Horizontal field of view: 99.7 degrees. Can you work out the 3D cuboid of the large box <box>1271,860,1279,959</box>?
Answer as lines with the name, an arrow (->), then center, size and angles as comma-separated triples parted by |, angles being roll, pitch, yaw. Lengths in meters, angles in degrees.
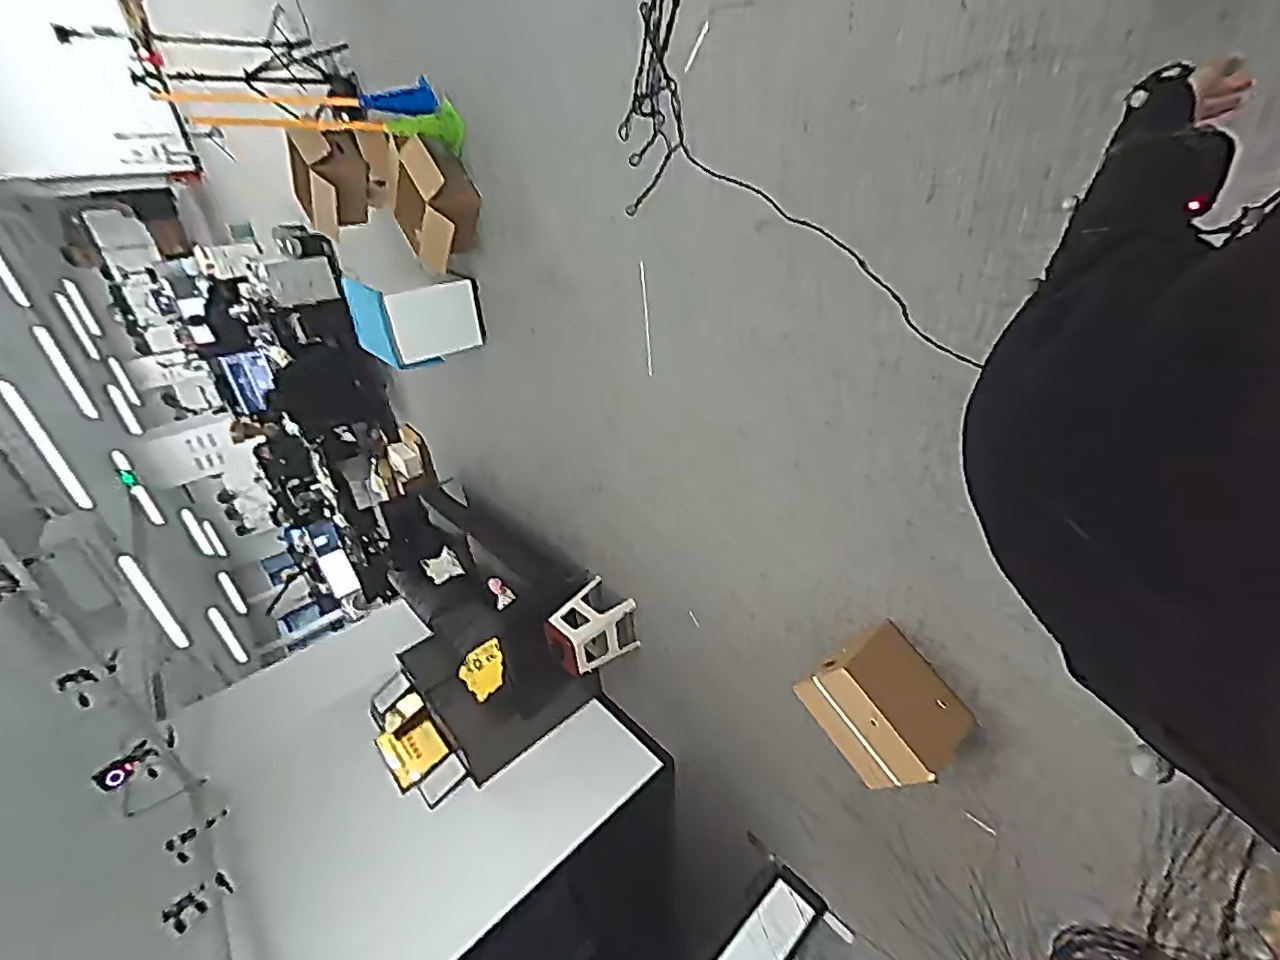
large box -> 1.559, 0.960, 1.059 | 0.408, 0.320, 0.320 | 9, 120, 50
